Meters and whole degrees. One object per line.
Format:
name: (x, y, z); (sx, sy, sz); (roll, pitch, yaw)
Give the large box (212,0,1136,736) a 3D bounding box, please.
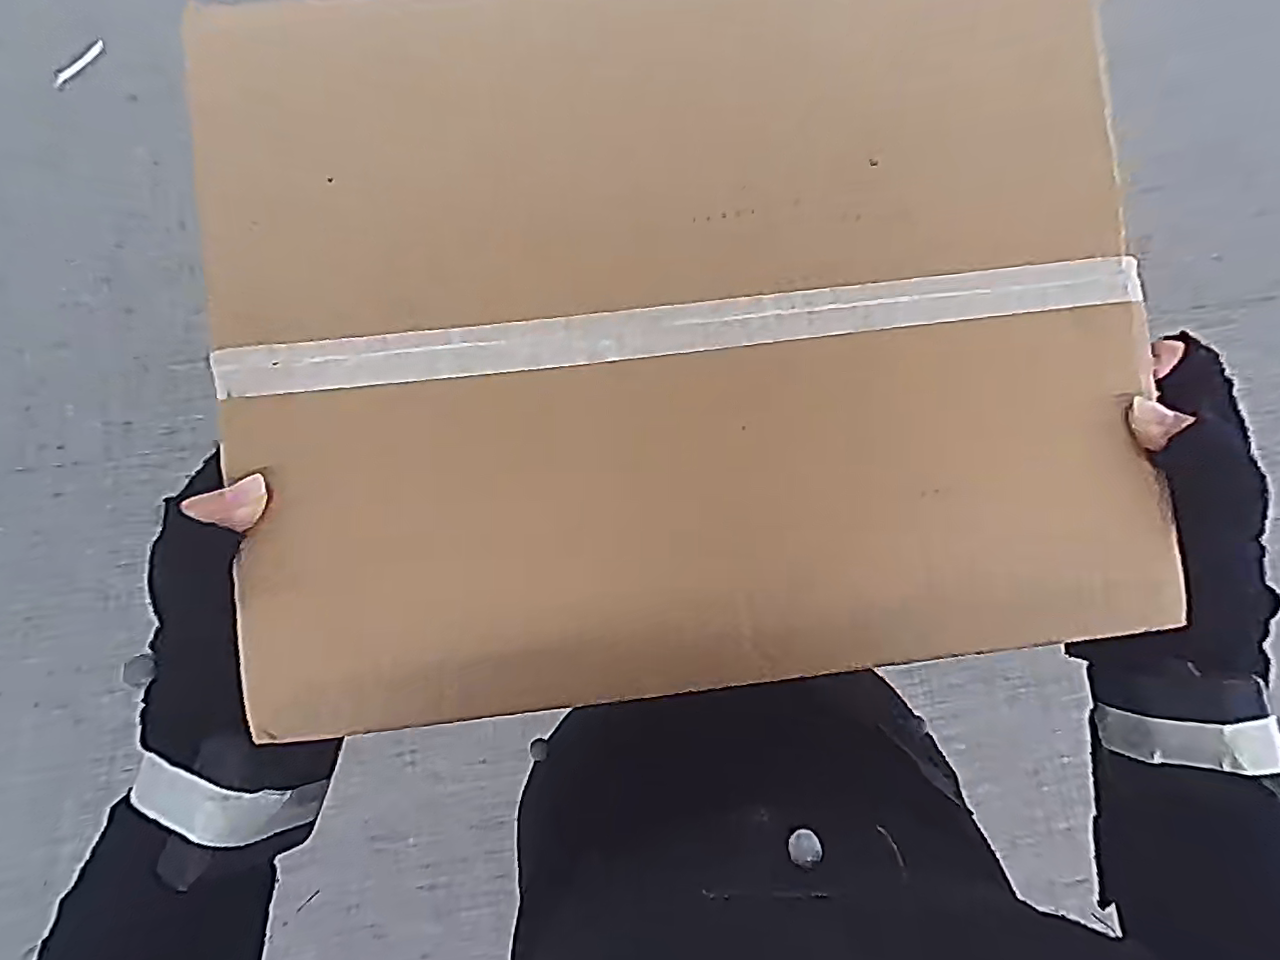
large box: (0.017, -0.061, 0.397); (0.408, 0.320, 0.320); (-7, 88, -2)
